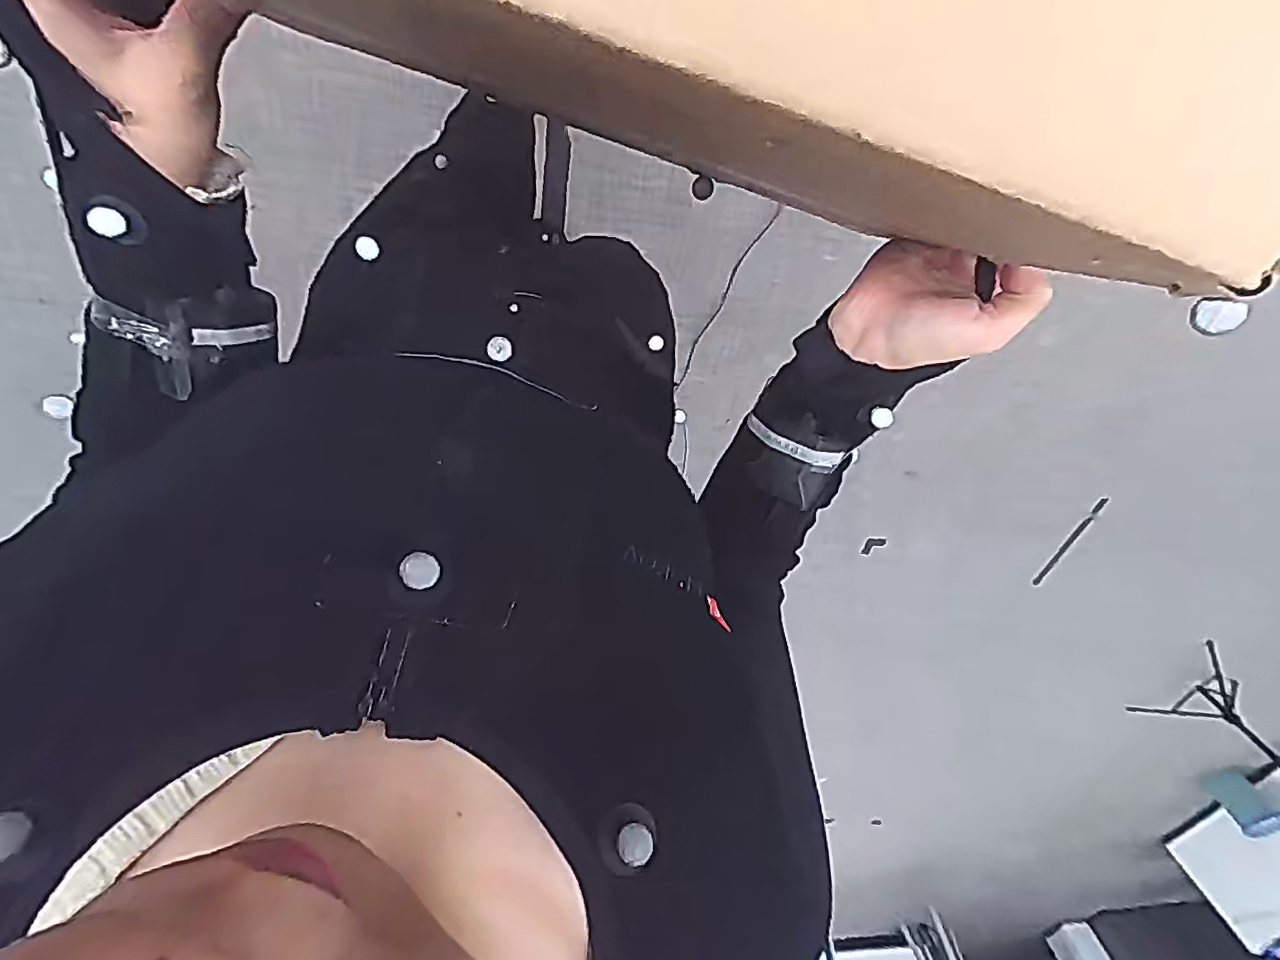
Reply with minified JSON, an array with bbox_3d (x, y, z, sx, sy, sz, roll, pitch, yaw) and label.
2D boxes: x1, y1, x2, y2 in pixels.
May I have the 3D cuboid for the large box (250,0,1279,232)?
[{"bbox_3d":[0.009,-0.310,0.174,0.408,0.320,0.320,14,119,-8],"label":"large box"}]
